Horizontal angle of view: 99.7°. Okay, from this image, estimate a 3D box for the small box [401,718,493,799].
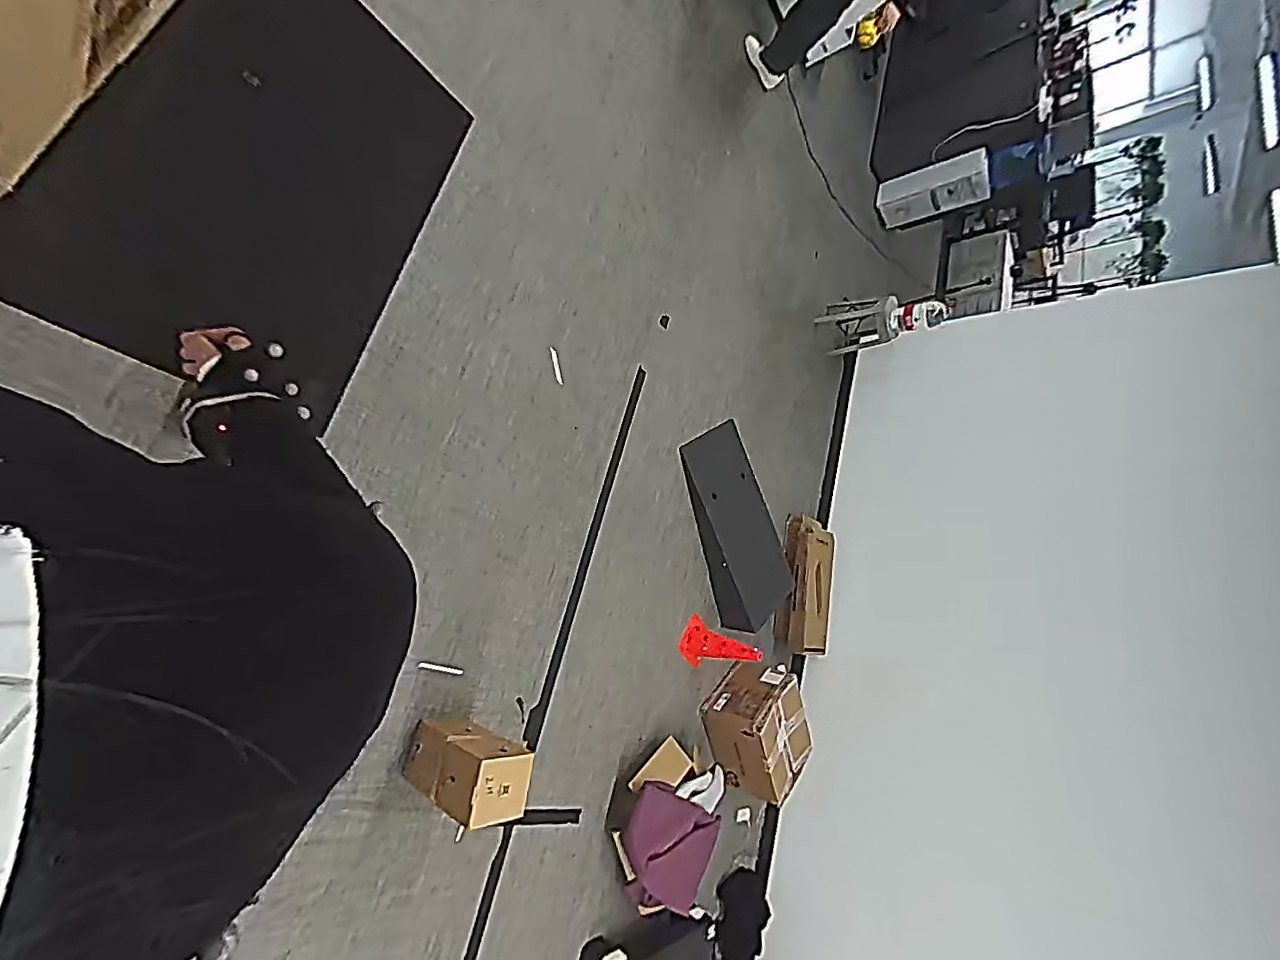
[{"bbox_3d":[-0.558,0.804,1.573,0.179,0.176,0.168,28,68,-44],"label":"small box"}]

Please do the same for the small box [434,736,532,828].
[{"bbox_3d":[-0.427,0.811,1.472,0.179,0.176,0.168,22,72,-46],"label":"small box"}]
